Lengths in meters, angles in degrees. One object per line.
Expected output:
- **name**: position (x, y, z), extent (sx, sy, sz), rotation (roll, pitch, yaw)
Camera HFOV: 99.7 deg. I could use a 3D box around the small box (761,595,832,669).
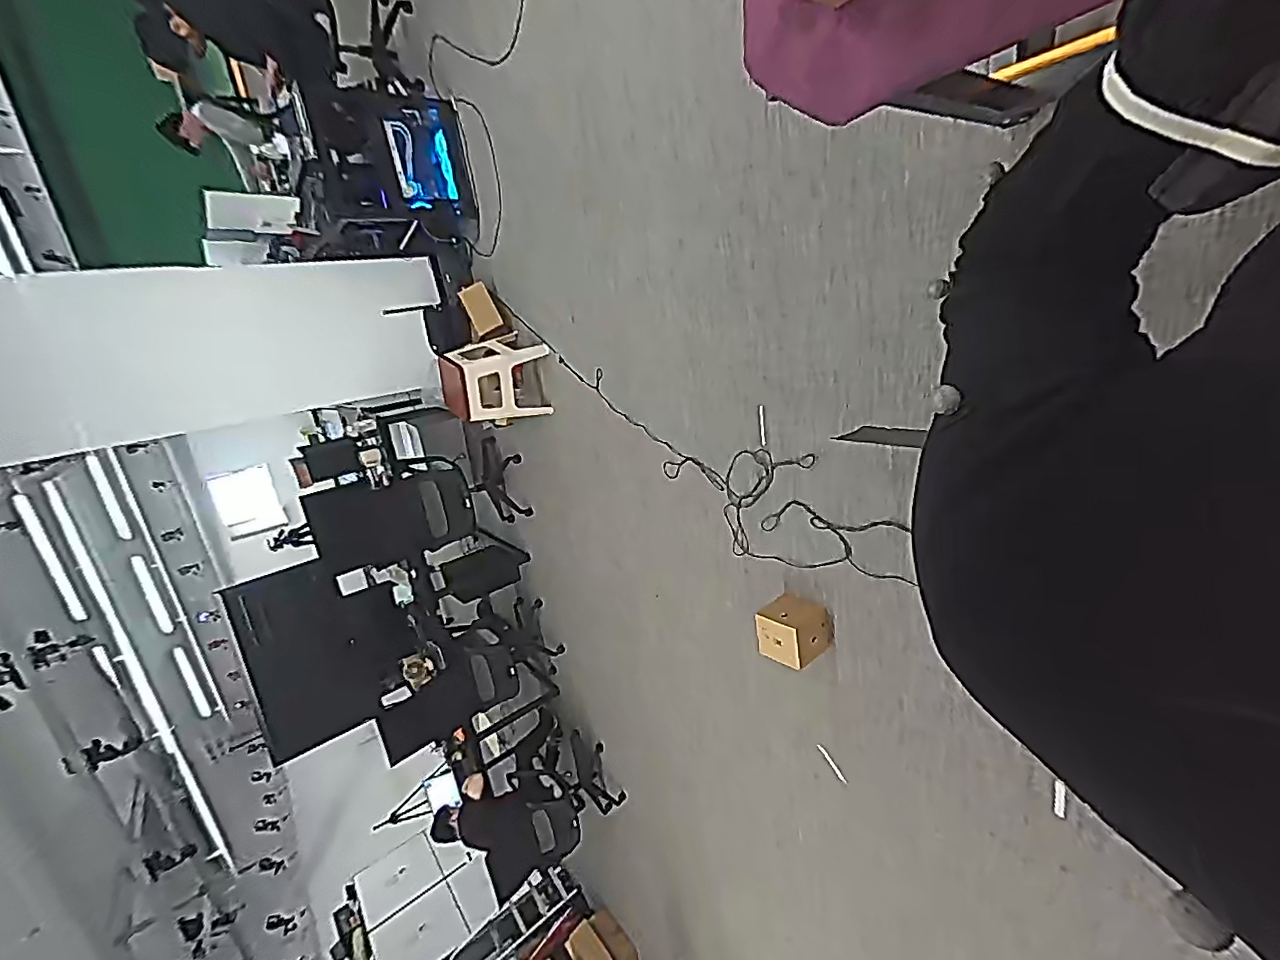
- **small box**: position (0.554, 0.523, 1.891), extent (0.179, 0.176, 0.168), rotation (11, 116, 52)
